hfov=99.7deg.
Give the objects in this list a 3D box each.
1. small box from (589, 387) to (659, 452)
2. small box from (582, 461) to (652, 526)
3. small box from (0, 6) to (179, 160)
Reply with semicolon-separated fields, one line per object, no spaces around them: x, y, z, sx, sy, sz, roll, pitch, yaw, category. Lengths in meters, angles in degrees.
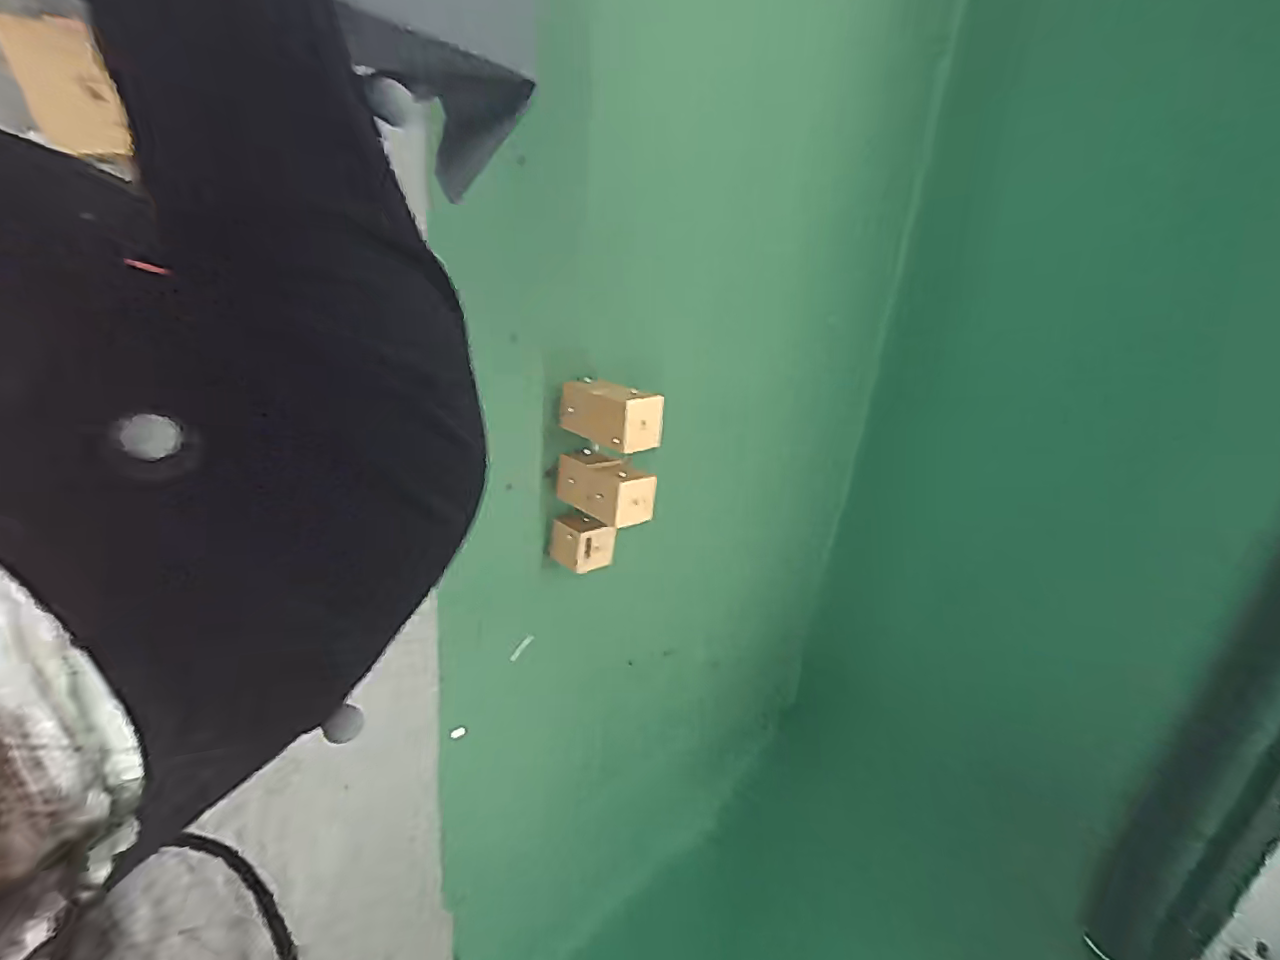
-0.056;-0.209;1.808;0.168;0.176;0.179;-16;120;-43;small box
-0.084;0.042;1.896;0.179;0.176;0.168;-12;117;-45;small box
-0.917;-0.643;0.900;0.168;0.176;0.179;-27;126;-37;small box
